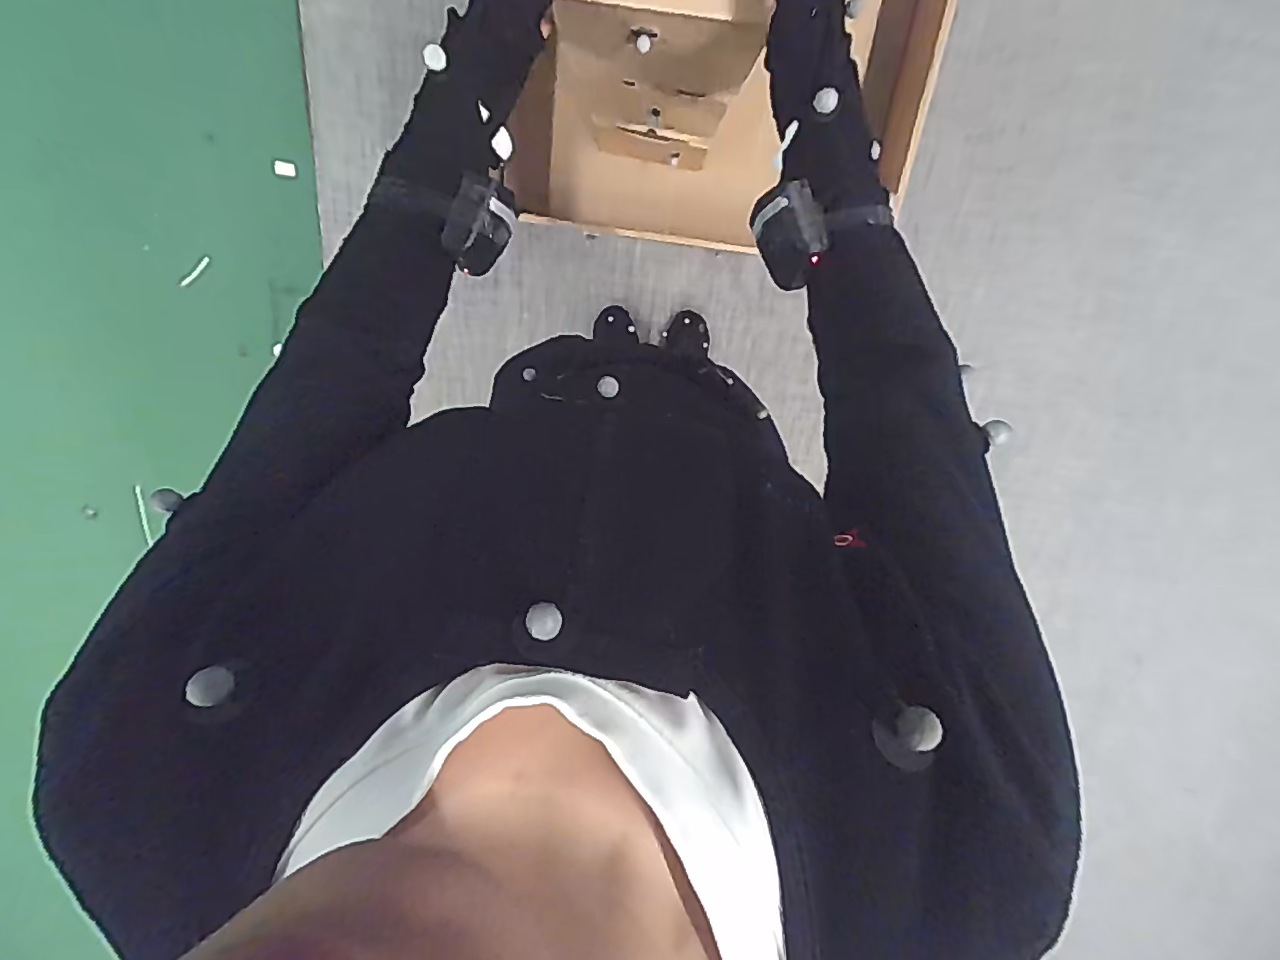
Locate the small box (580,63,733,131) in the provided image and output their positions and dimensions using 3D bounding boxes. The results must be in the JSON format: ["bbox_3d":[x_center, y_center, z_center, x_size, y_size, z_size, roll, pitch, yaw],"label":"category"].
[{"bbox_3d":[0.033,-0.520,0.610,0.168,0.176,0.179,9,111,-3],"label":"small box"}]

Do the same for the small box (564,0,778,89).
[{"bbox_3d":[0.028,-0.459,0.457,0.179,0.176,0.168,6,111,-2],"label":"small box"}]

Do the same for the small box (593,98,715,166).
[{"bbox_3d":[0.034,-0.568,0.767,0.168,0.176,0.179,10,109,-3],"label":"small box"}]
